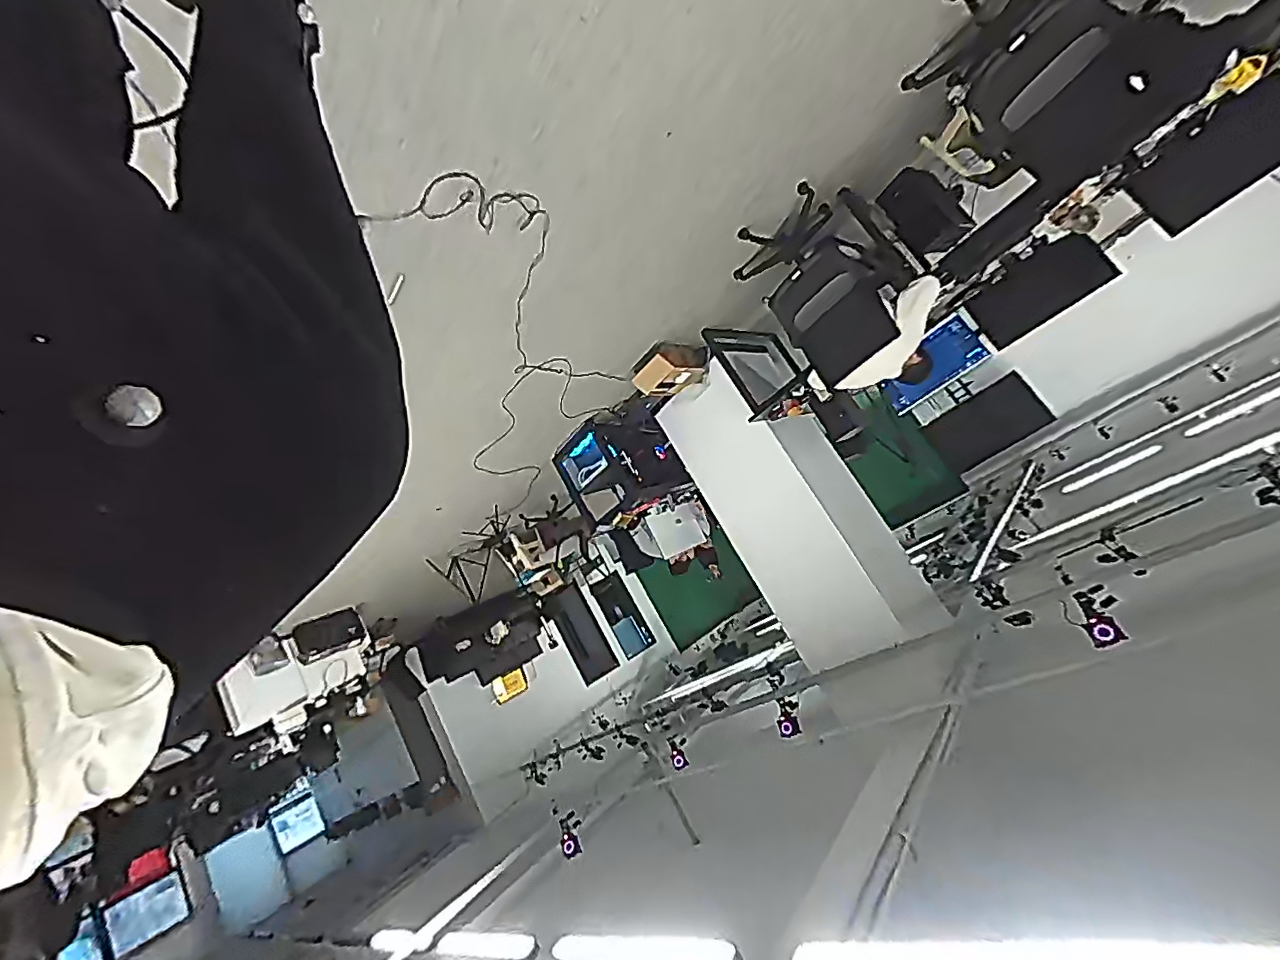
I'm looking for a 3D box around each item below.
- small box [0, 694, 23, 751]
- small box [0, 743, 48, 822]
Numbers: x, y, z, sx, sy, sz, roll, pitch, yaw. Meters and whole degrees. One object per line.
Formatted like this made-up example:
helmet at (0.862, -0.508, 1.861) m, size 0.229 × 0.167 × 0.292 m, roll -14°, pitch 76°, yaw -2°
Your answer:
small box at (-1.940, 0.751, 1.568) m, size 0.179 × 0.176 × 0.168 m, roll -15°, pitch 161°, yaw -47°
small box at (-1.842, 0.880, 1.539) m, size 0.179 × 0.176 × 0.168 m, roll -15°, pitch 161°, yaw -47°
